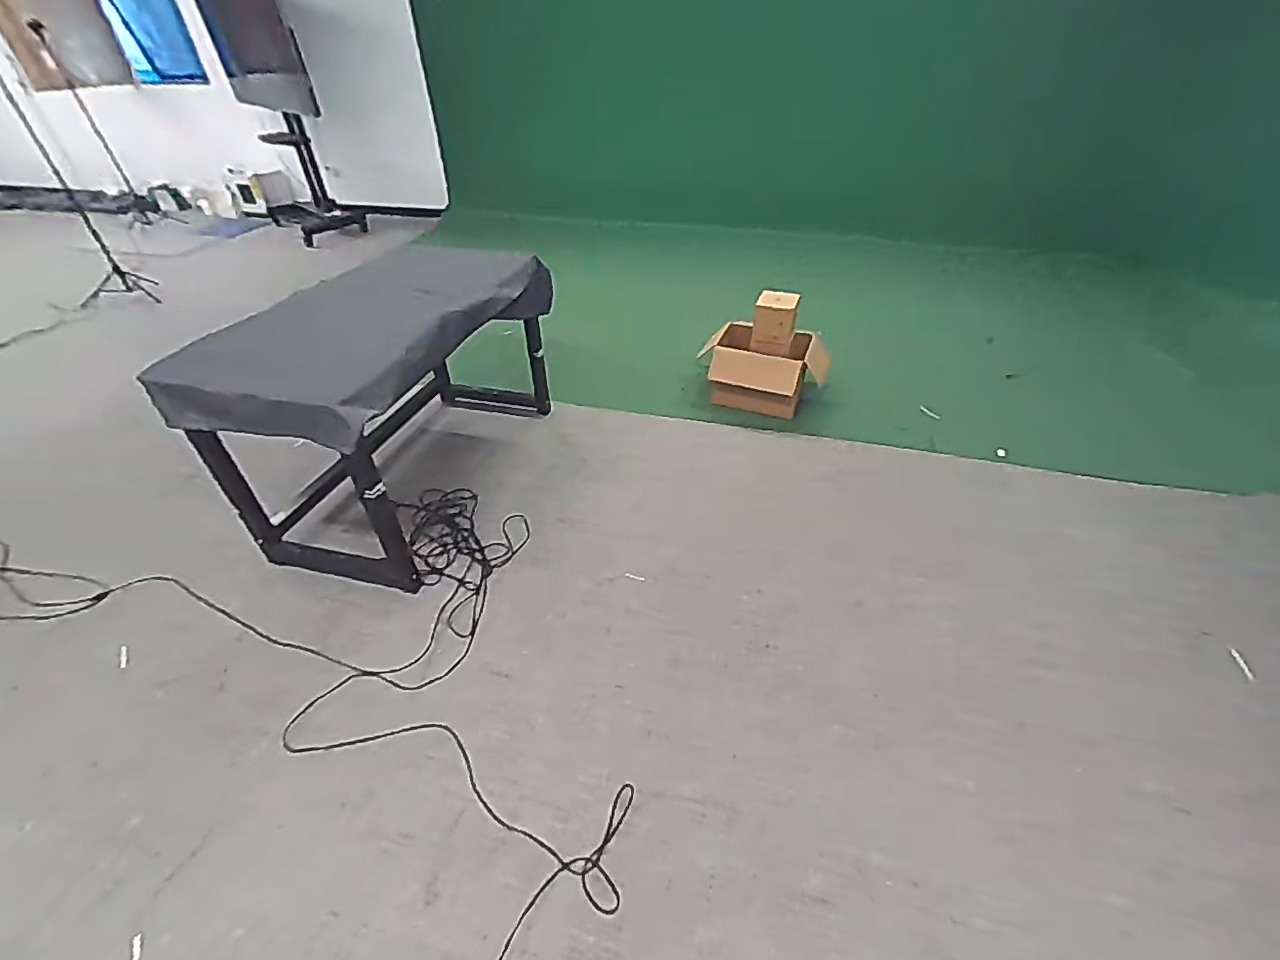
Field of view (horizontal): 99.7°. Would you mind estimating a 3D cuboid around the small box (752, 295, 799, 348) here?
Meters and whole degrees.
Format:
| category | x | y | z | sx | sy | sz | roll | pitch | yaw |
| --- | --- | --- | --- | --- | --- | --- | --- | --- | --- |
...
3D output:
| category | x | y | z | sx | sy | sz | roll | pitch | yaw |
| --- | --- | --- | --- | --- | --- | --- | --- | --- | --- |
| small box | 0.607 | -0.709 | 2.424 | 0.168 | 0.176 | 0.179 | 13 | 41 | 17 |
